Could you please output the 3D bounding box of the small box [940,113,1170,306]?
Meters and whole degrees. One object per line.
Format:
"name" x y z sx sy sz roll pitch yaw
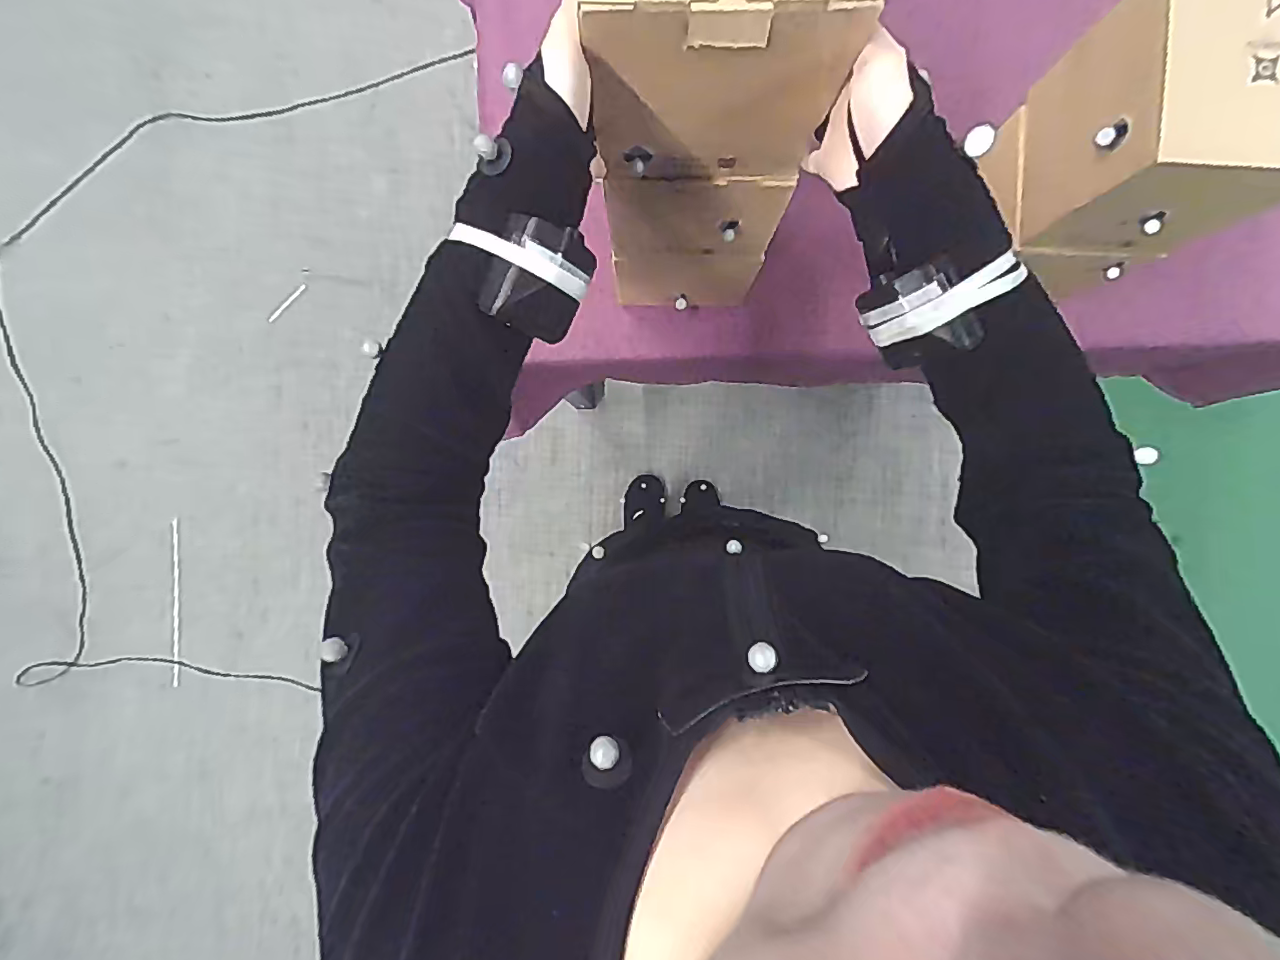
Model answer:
"small box" 0.507 -0.327 0.683 0.179 0.176 0.168 2 90 1

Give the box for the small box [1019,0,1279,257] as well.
"small box" 0.502 -0.333 0.519 0.168 0.176 0.179 4 90 1

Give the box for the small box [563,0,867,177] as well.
"small box" 0.042 -0.332 0.367 0.168 0.176 0.179 0 90 0

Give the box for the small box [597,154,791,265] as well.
"small box" 0.052 -0.329 0.532 0.168 0.176 0.179 3 90 1

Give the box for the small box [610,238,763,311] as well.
"small box" 0.055 -0.324 0.696 0.179 0.176 0.168 1 90 1
